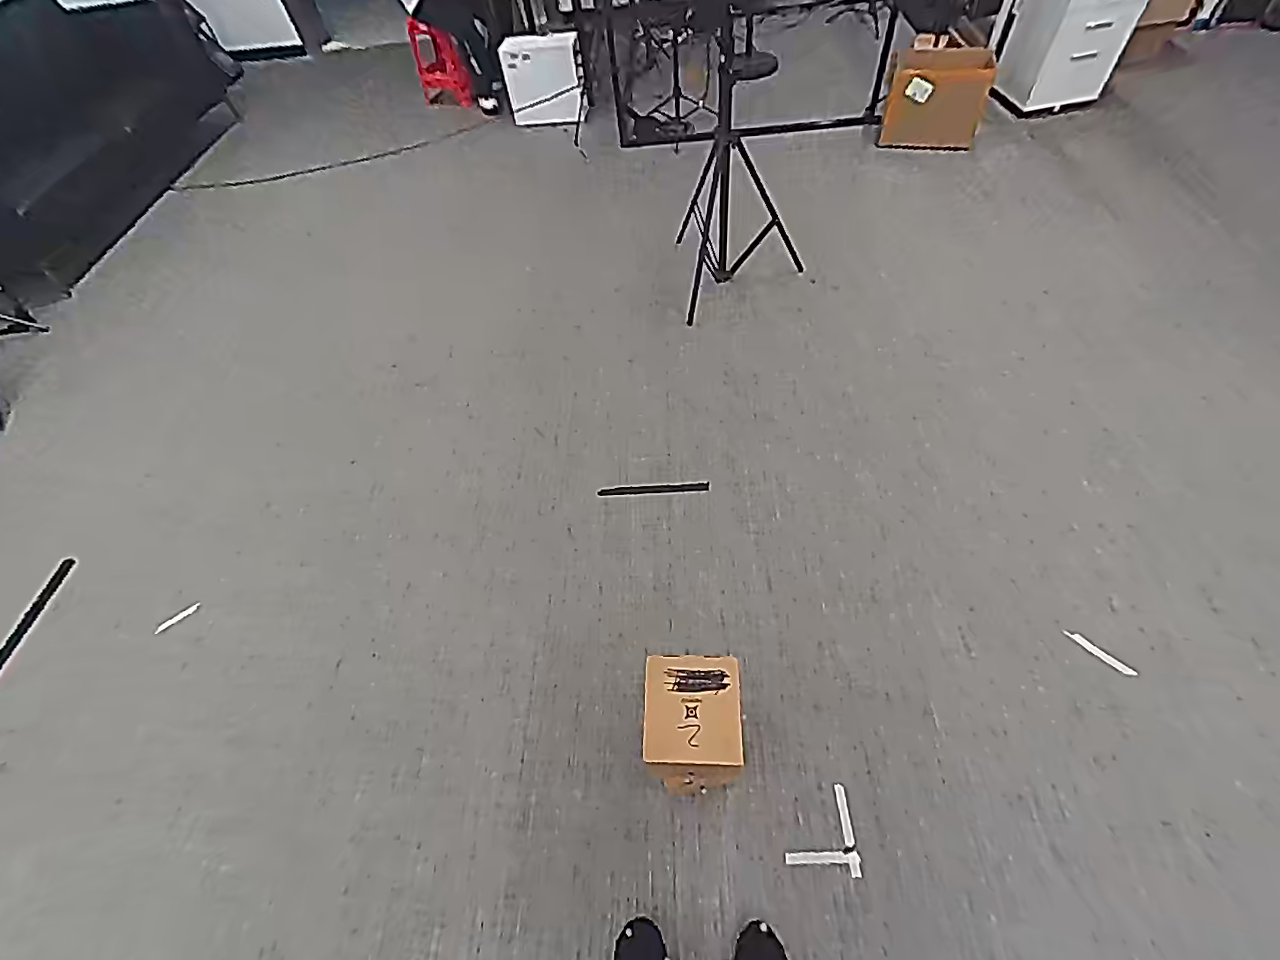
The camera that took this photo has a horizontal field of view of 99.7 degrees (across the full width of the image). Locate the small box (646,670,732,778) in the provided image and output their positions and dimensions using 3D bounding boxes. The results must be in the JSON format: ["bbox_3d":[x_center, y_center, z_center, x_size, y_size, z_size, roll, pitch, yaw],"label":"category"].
[{"bbox_3d":[0.101,0.510,1.127,0.168,0.176,0.179,-2,55,5],"label":"small box"}]

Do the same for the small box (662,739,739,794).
[{"bbox_3d":[0.123,0.608,1.255,0.168,0.176,0.179,-12,55,-1],"label":"small box"}]
